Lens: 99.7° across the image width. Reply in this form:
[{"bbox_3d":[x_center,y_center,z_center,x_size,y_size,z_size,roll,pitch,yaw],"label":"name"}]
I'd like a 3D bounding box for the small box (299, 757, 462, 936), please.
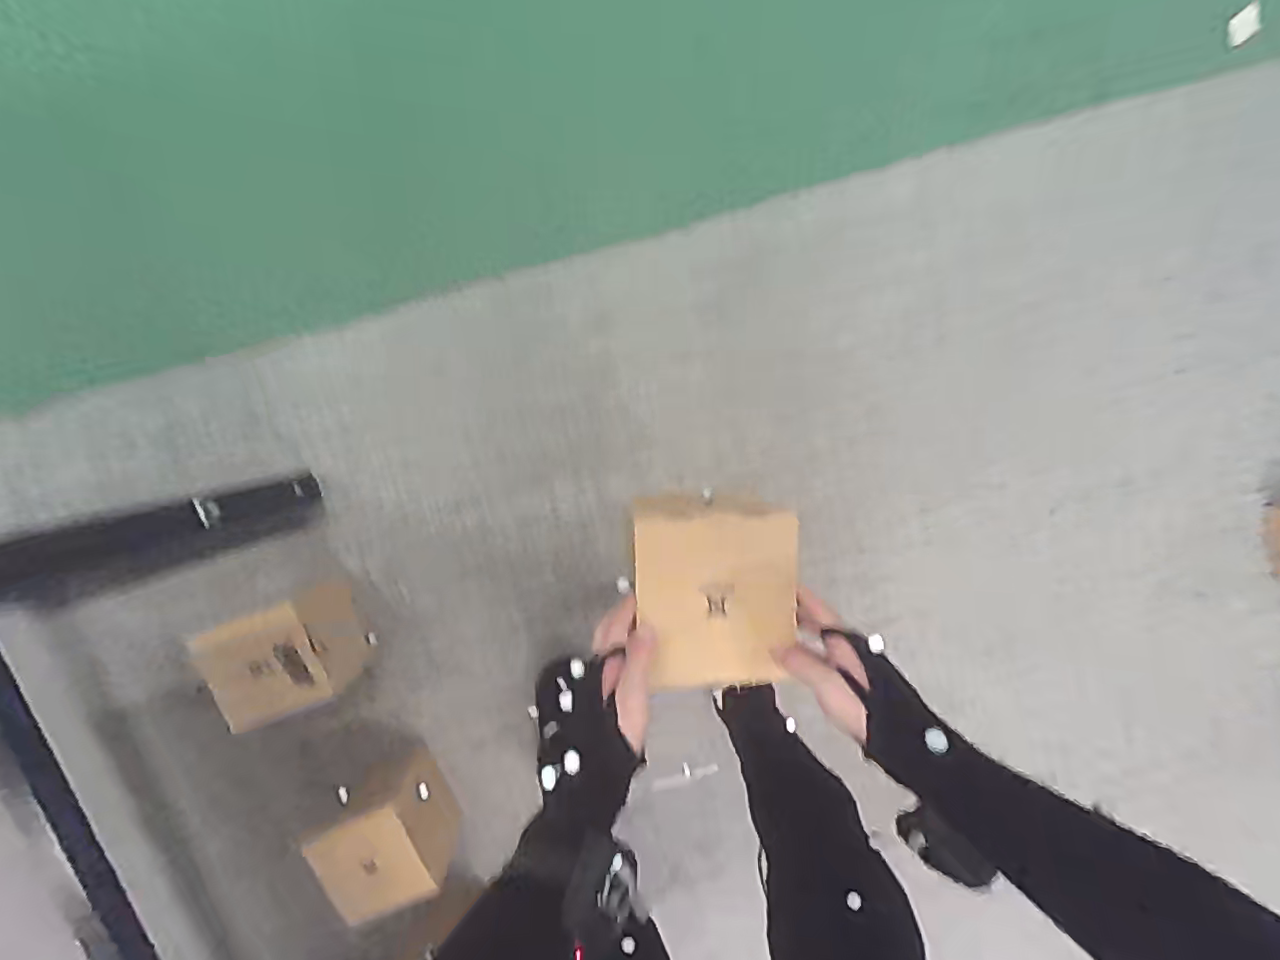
[{"bbox_3d":[-0.439,0.620,0.943,0.168,0.176,0.179,-24,98,0],"label":"small box"}]

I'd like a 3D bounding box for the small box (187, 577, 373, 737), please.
[{"bbox_3d":[-0.575,0.281,0.898,0.179,0.176,0.168,-20,96,0],"label":"small box"}]

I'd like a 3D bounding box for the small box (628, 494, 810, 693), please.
[{"bbox_3d":[0.076,0.112,0.599,0.168,0.176,0.179,-1,94,-6],"label":"small box"}]
